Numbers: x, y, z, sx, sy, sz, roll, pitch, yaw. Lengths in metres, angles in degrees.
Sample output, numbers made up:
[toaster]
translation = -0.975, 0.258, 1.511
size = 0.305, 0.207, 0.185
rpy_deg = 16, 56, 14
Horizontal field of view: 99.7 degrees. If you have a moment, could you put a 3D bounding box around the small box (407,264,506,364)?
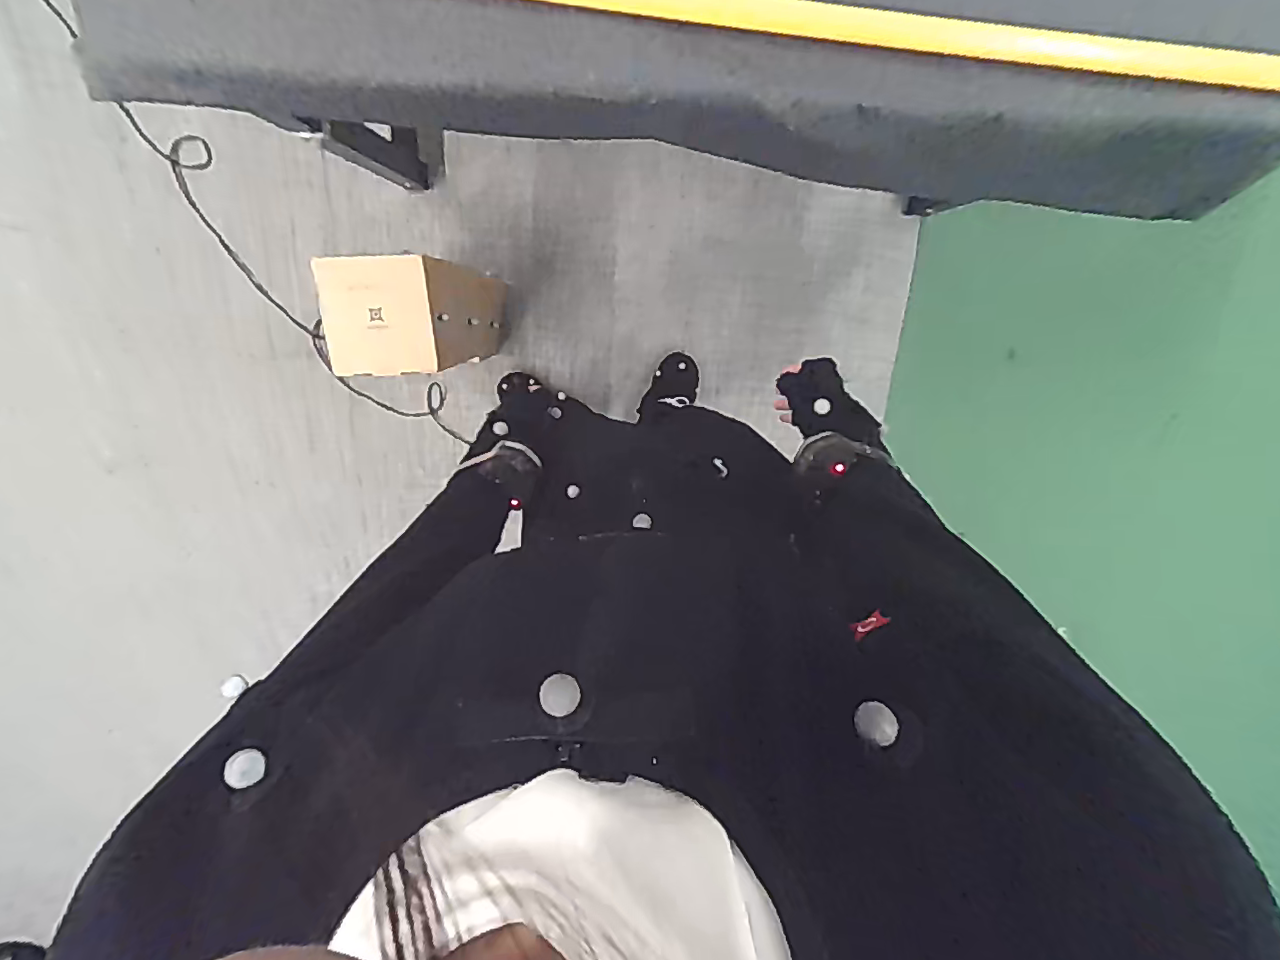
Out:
[small box]
translation = -0.403, -0.371, 1.209
size = 0.168, 0.176, 0.179
rpy_deg = 10, 109, -4
